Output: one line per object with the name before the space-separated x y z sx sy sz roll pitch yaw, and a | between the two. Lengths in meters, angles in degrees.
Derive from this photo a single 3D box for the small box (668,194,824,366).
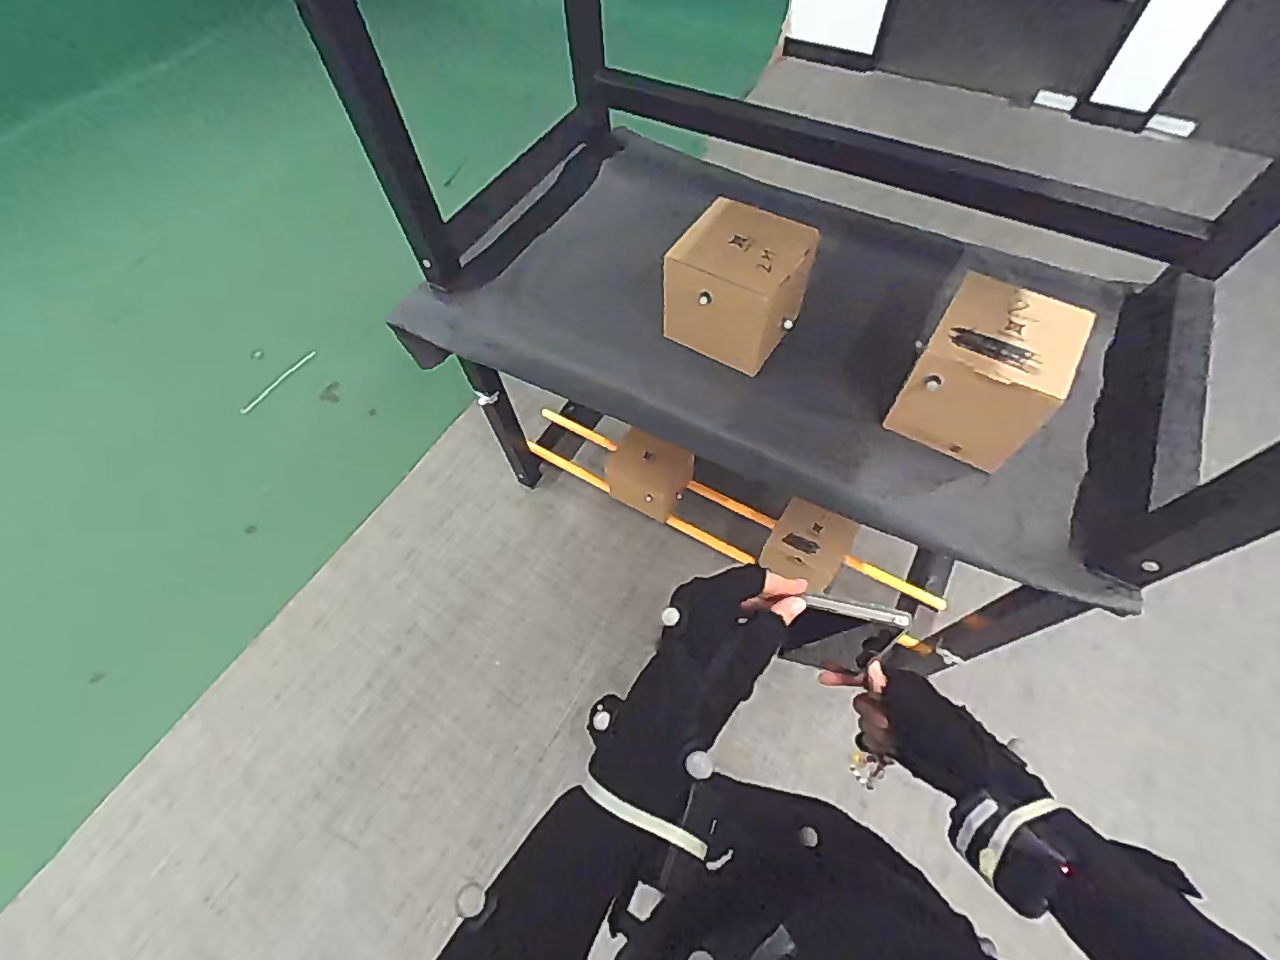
small box | 0.159 -0.310 0.857 0.179 0.176 0.168 29 67 18

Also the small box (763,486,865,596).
small box | 0.408 0.153 1.299 0.168 0.176 0.179 30 67 18
